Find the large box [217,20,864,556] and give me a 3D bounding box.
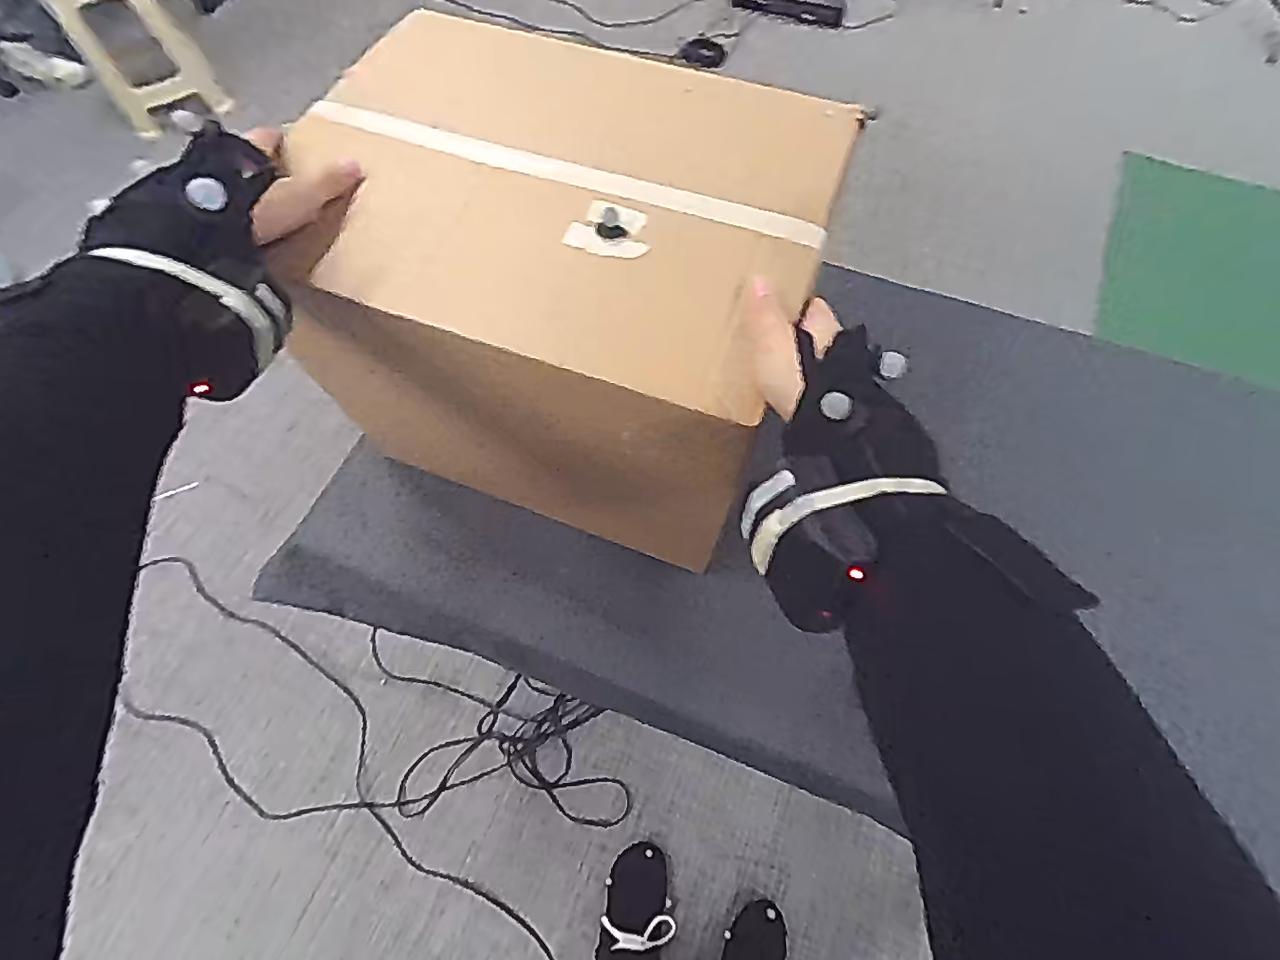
[{"bbox_3d":[-0.058,-0.163,0.537,0.408,0.320,0.320,19,68,7],"label":"large box"}]
